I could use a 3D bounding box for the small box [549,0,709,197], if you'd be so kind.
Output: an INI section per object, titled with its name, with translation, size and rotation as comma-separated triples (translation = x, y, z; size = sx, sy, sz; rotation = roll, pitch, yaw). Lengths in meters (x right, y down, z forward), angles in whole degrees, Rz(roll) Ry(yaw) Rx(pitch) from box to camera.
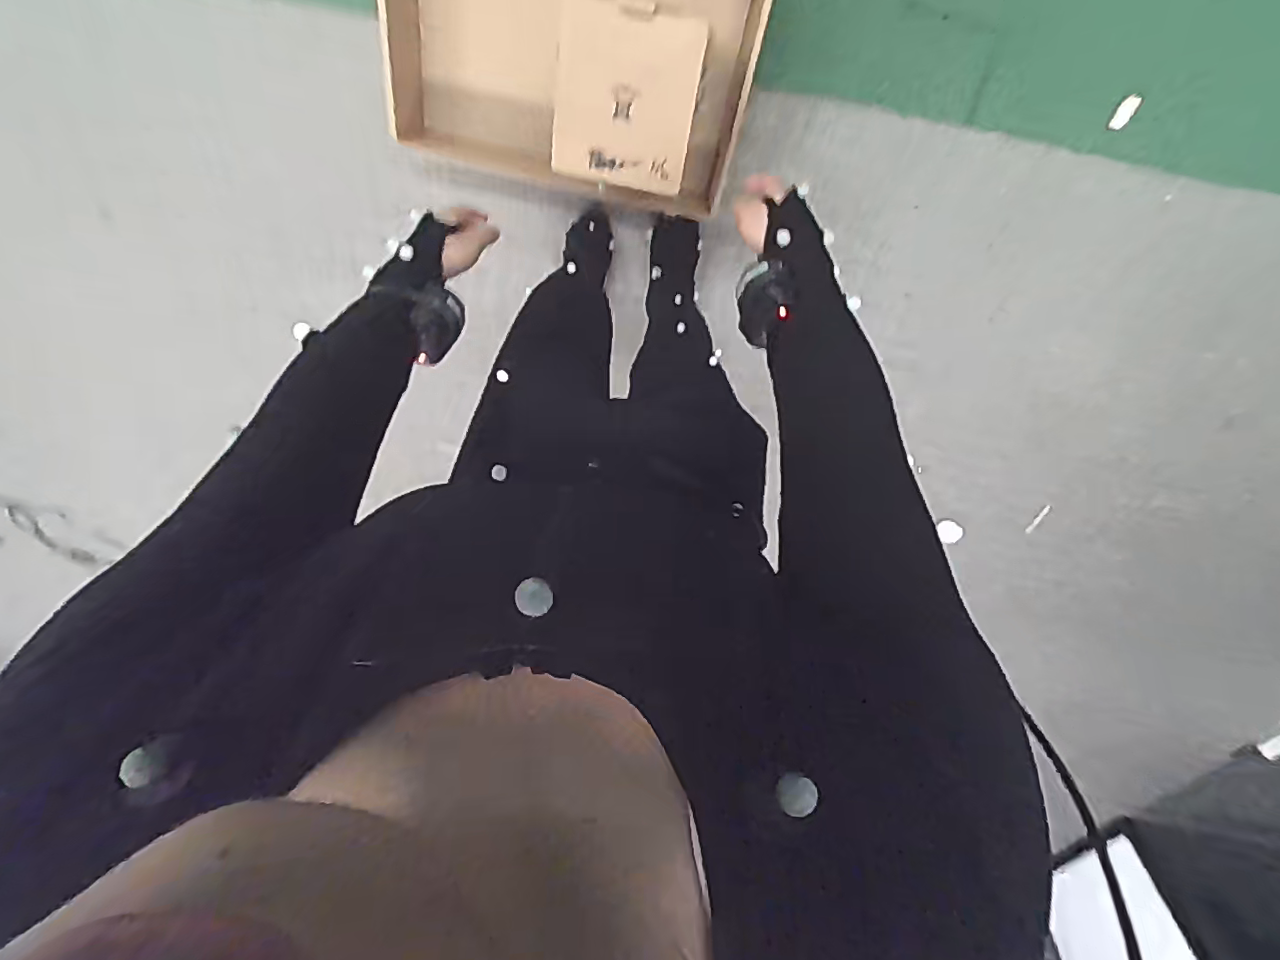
[small box]
translation = -0.013, -0.485, 0.688
size = 0.168, 0.176, 0.179
rotation = 11, 127, -1
